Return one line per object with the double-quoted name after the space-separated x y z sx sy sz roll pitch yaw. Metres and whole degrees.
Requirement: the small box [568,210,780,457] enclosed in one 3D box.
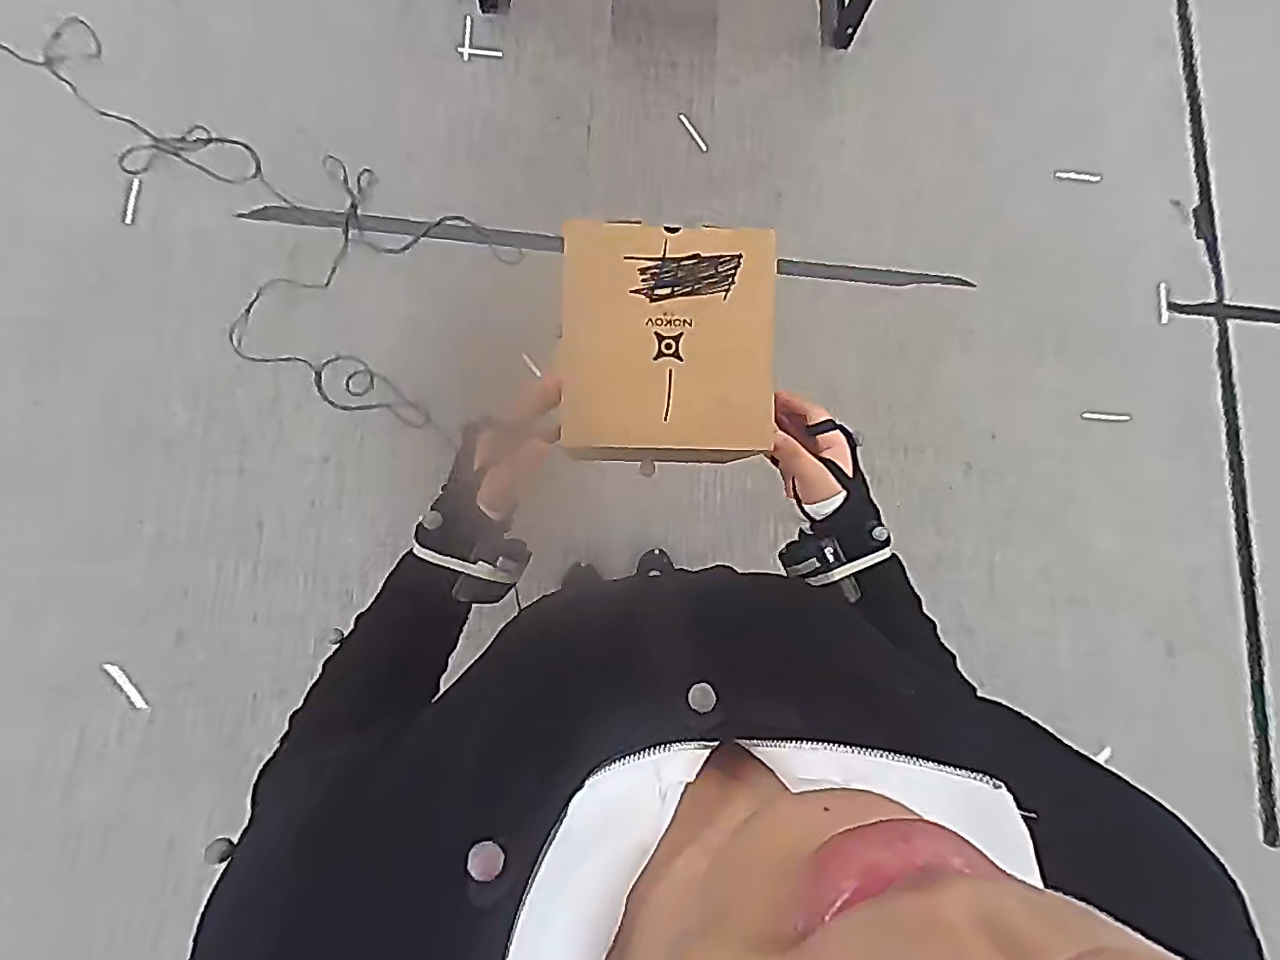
0.022 -0.117 0.496 0.168 0.176 0.179 0 88 -3 "small box"
